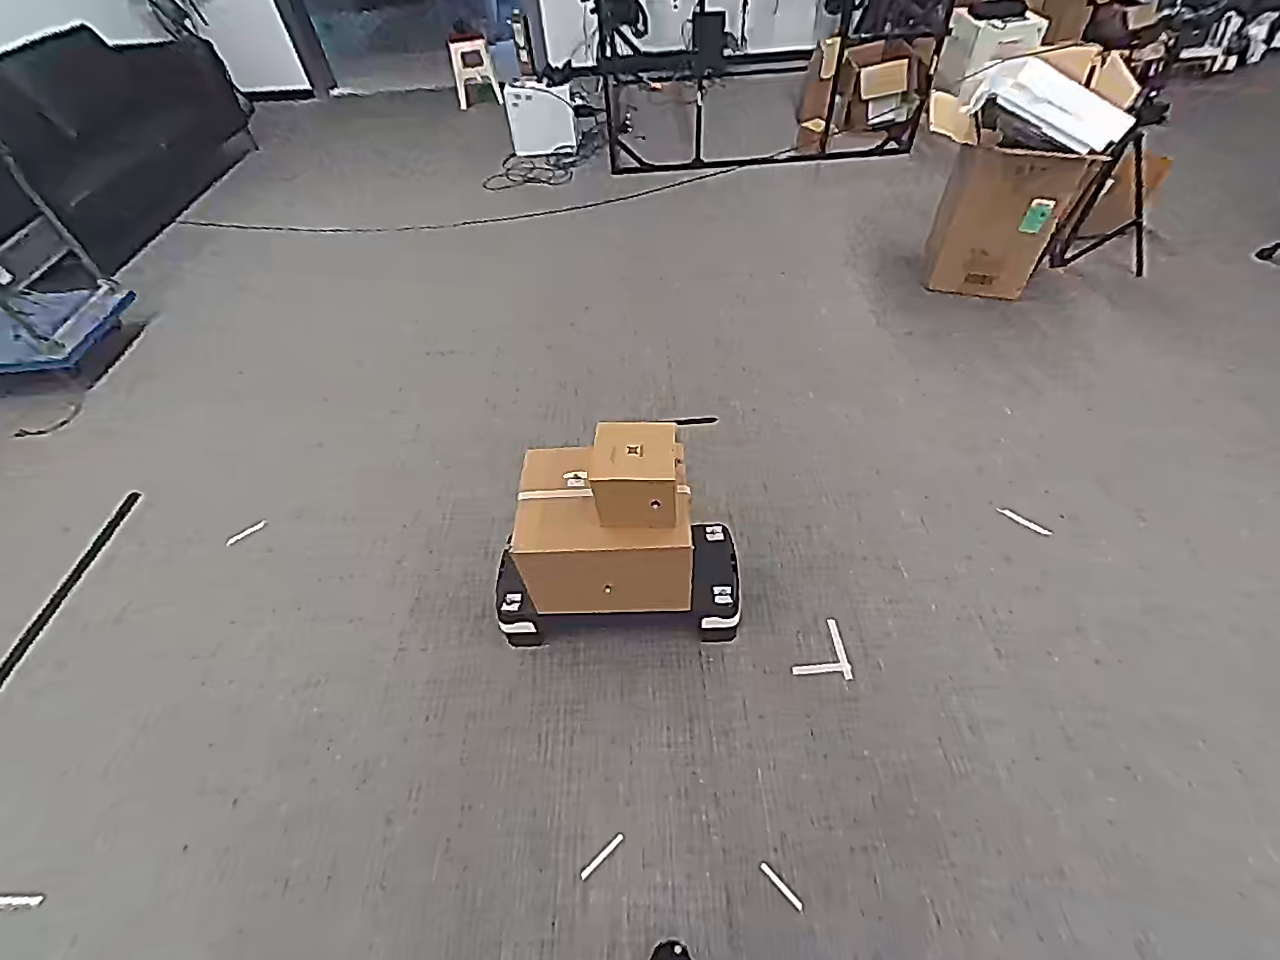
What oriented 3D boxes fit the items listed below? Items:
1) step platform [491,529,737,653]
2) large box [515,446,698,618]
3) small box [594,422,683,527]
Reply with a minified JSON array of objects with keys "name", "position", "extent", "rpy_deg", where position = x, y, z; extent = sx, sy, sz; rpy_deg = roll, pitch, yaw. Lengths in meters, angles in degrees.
[{"name":"step platform","position":[-0.069,0.306,1.551],"extent":[0.684,0.204,0.286],"rpy_deg":[1,50,7]},{"name":"large box","position":[-0.066,0.140,1.380],"extent":[0.408,0.320,0.320],"rpy_deg":[-3,49,3]},{"name":"small box","position":[0.004,-0.009,1.178],"extent":[0.179,0.176,0.168],"rpy_deg":[0,50,5]}]
